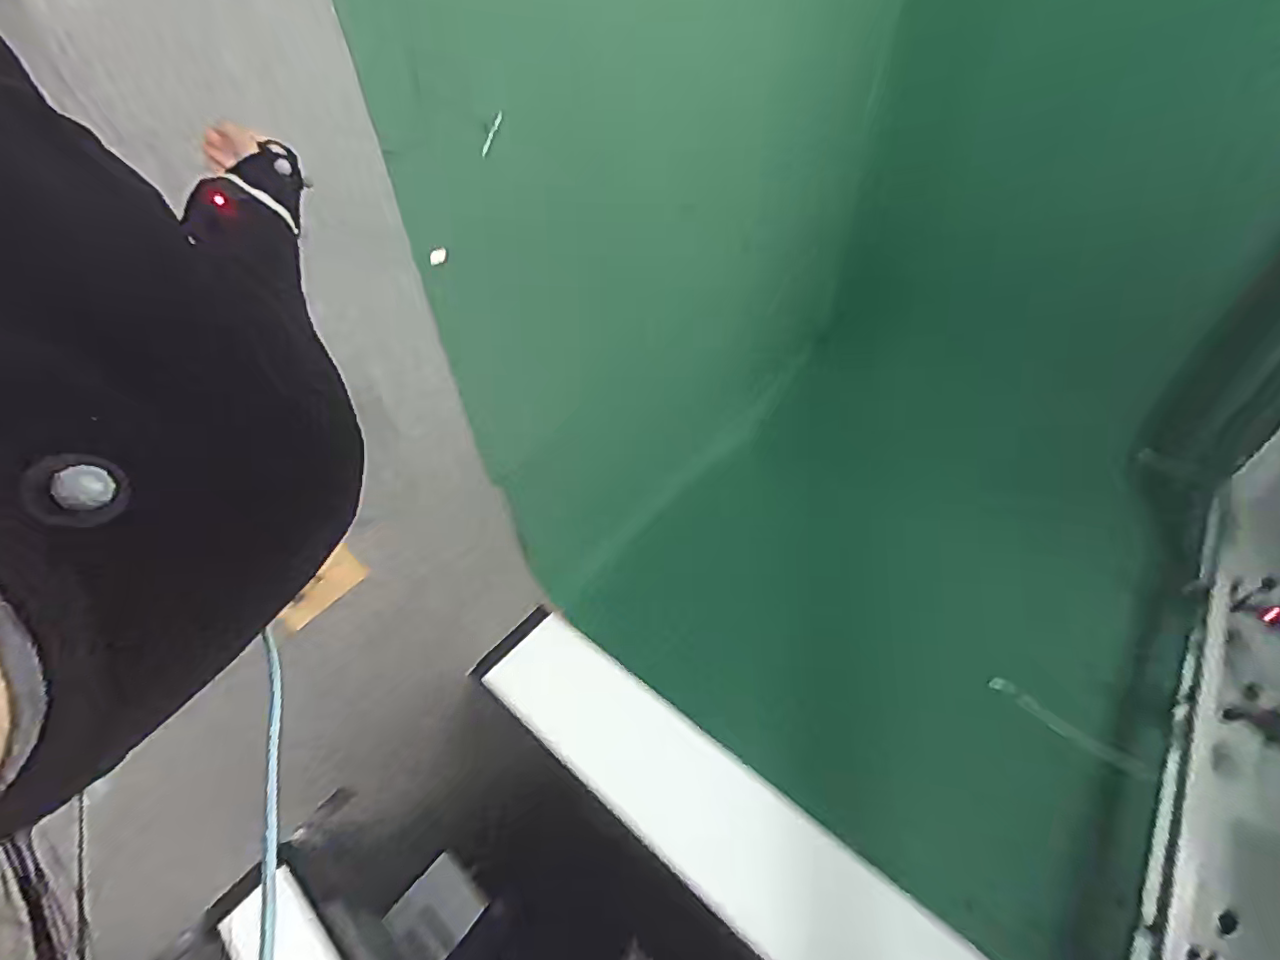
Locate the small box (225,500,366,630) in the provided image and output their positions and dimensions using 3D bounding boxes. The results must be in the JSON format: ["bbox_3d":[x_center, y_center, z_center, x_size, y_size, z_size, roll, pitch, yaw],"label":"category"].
[{"bbox_3d":[-0.739,0.178,1.154,0.179,0.176,0.168,-44,147,-29],"label":"small box"}]
